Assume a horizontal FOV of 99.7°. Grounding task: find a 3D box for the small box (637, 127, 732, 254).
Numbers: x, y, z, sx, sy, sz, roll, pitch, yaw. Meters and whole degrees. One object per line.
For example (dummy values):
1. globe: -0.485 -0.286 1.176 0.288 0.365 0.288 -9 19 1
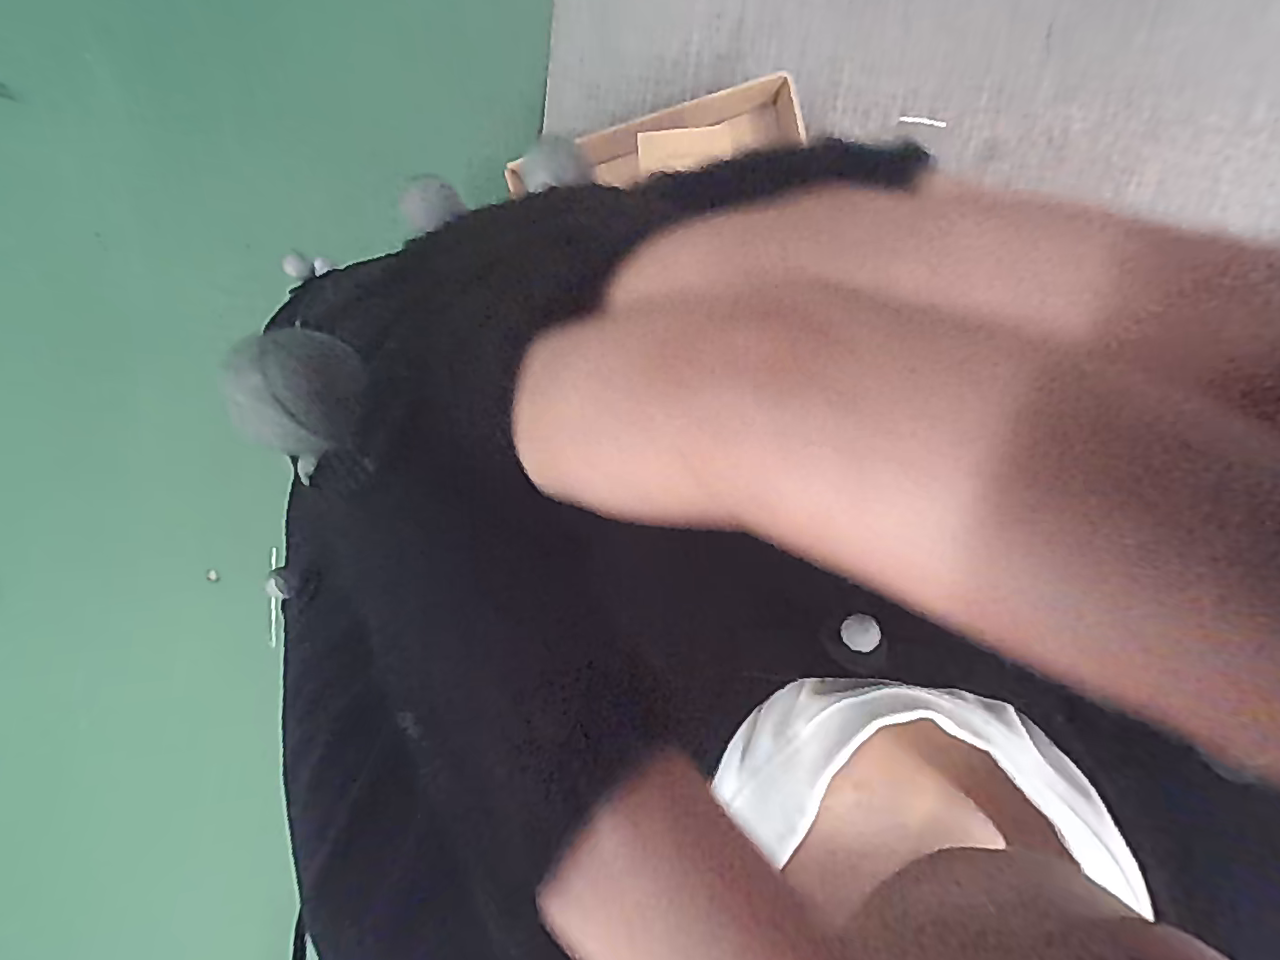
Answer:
1. small box: 0.084 -0.544 1.041 0.168 0.176 0.179 -4 101 3
